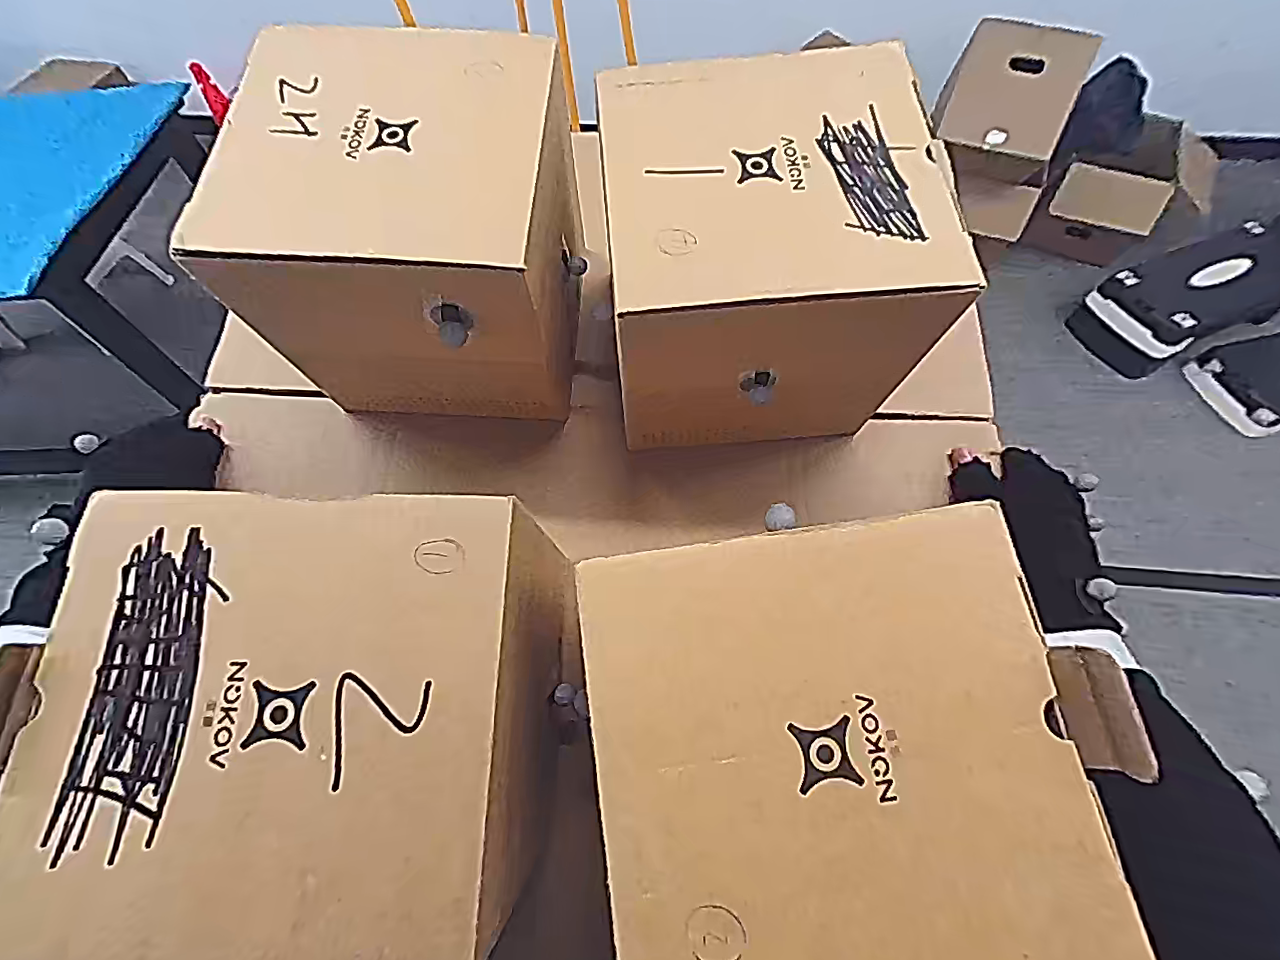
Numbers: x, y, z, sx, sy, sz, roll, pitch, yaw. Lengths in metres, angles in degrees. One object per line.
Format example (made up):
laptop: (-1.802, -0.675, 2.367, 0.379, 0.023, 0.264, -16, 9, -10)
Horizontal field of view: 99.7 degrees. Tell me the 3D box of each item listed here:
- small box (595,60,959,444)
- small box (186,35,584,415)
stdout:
small box: (0.066, -0.133, 0.362, 0.179, 0.176, 0.168, -5, 71, 0)
small box: (-0.138, -0.156, 0.372, 0.179, 0.176, 0.168, 4, 70, 2)
